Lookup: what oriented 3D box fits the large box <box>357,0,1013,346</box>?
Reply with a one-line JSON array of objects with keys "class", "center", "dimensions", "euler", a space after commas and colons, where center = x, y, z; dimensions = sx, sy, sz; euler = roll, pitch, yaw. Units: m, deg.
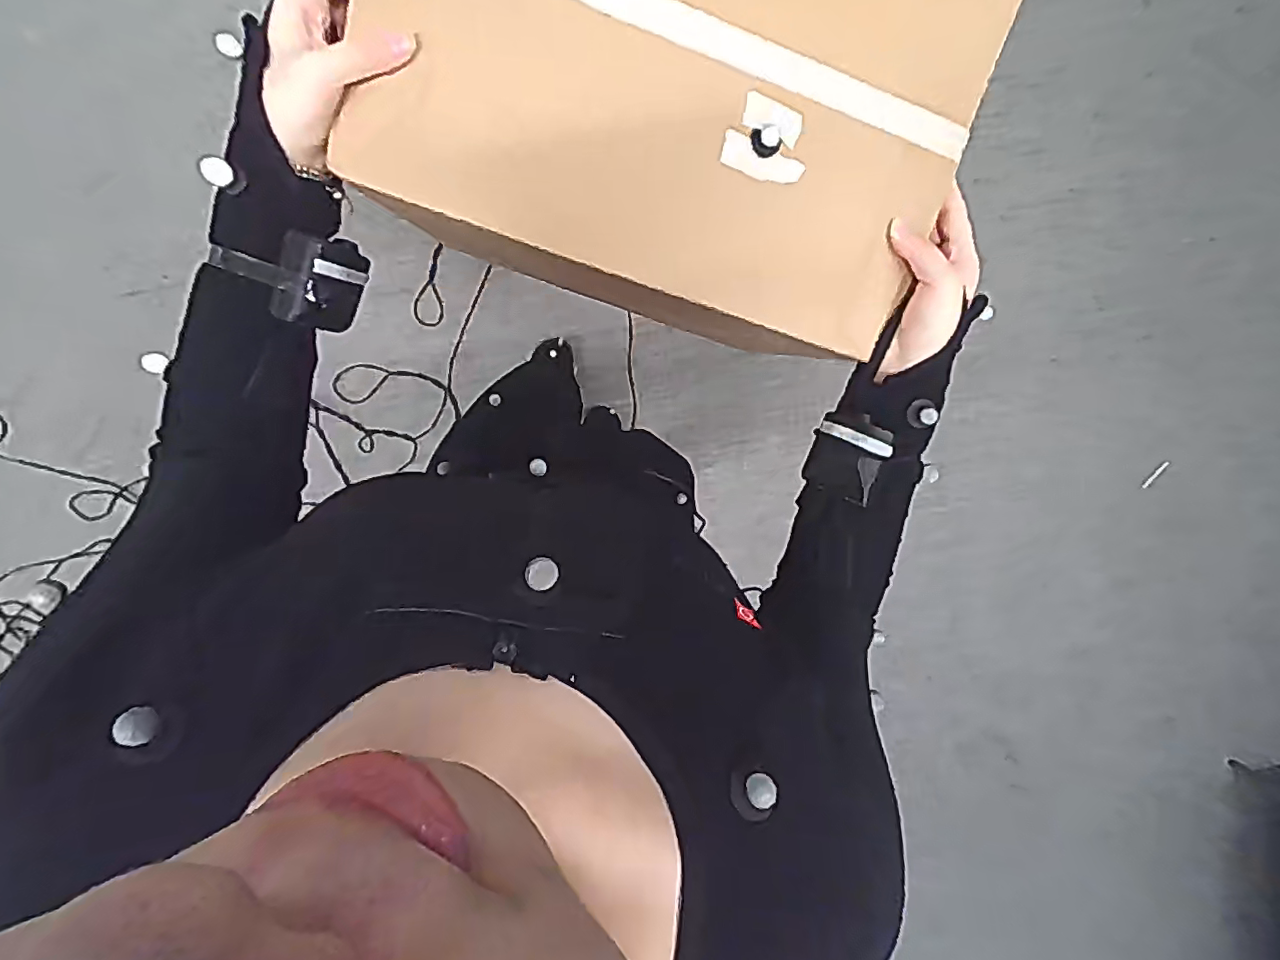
[{"class": "large box", "center": [0.024, -0.335, 0.502], "dimensions": [0.408, 0.320, 0.320], "euler": [16, 103, -11]}]
